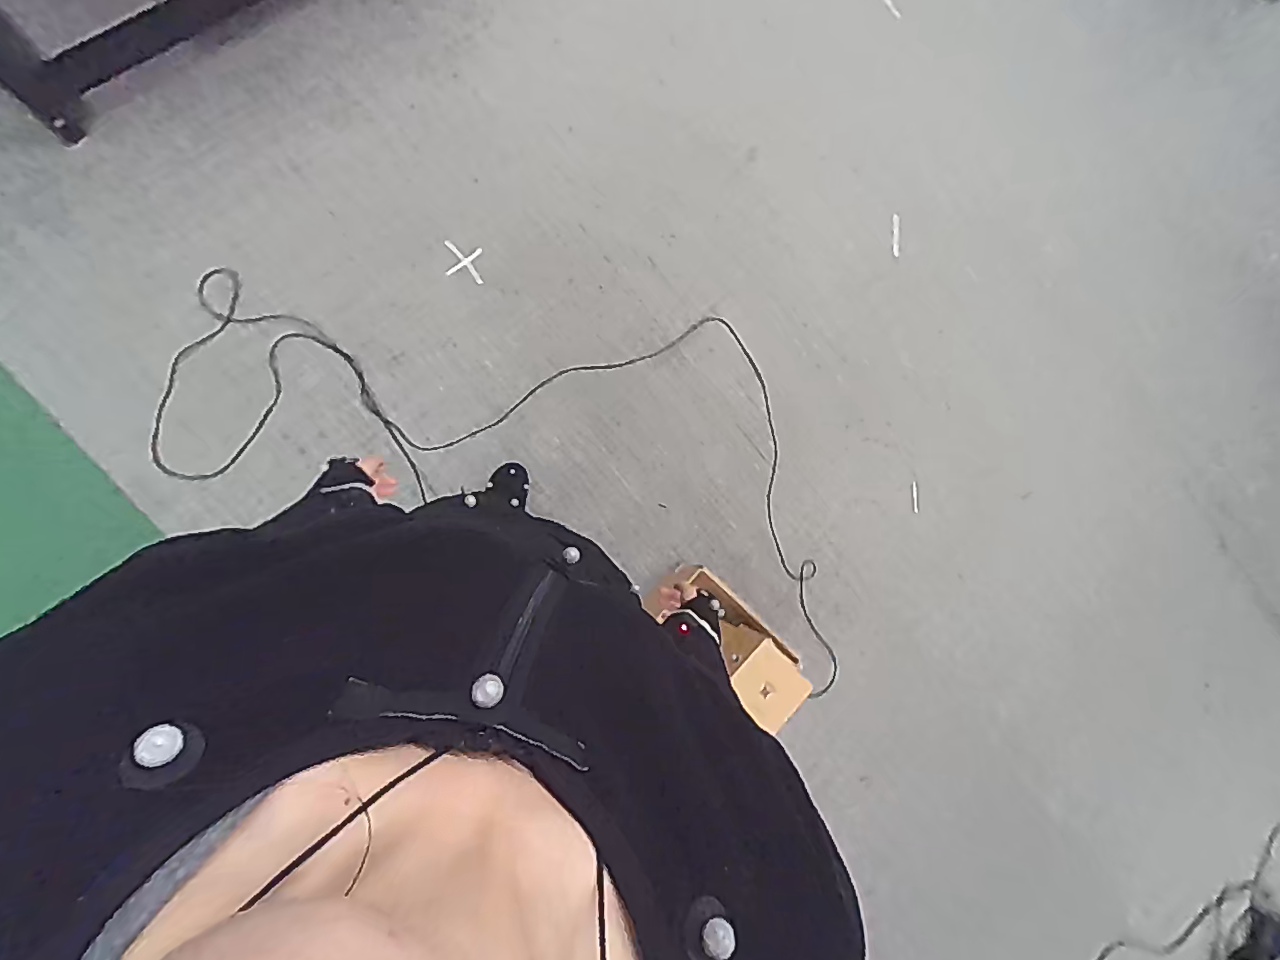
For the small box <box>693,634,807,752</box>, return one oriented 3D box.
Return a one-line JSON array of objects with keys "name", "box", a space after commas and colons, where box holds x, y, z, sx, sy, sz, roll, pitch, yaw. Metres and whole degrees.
[{"name": "small box", "box": [0.252, 0.494, 1.286, 0.179, 0.176, 0.168, -43, 94, -12]}]
